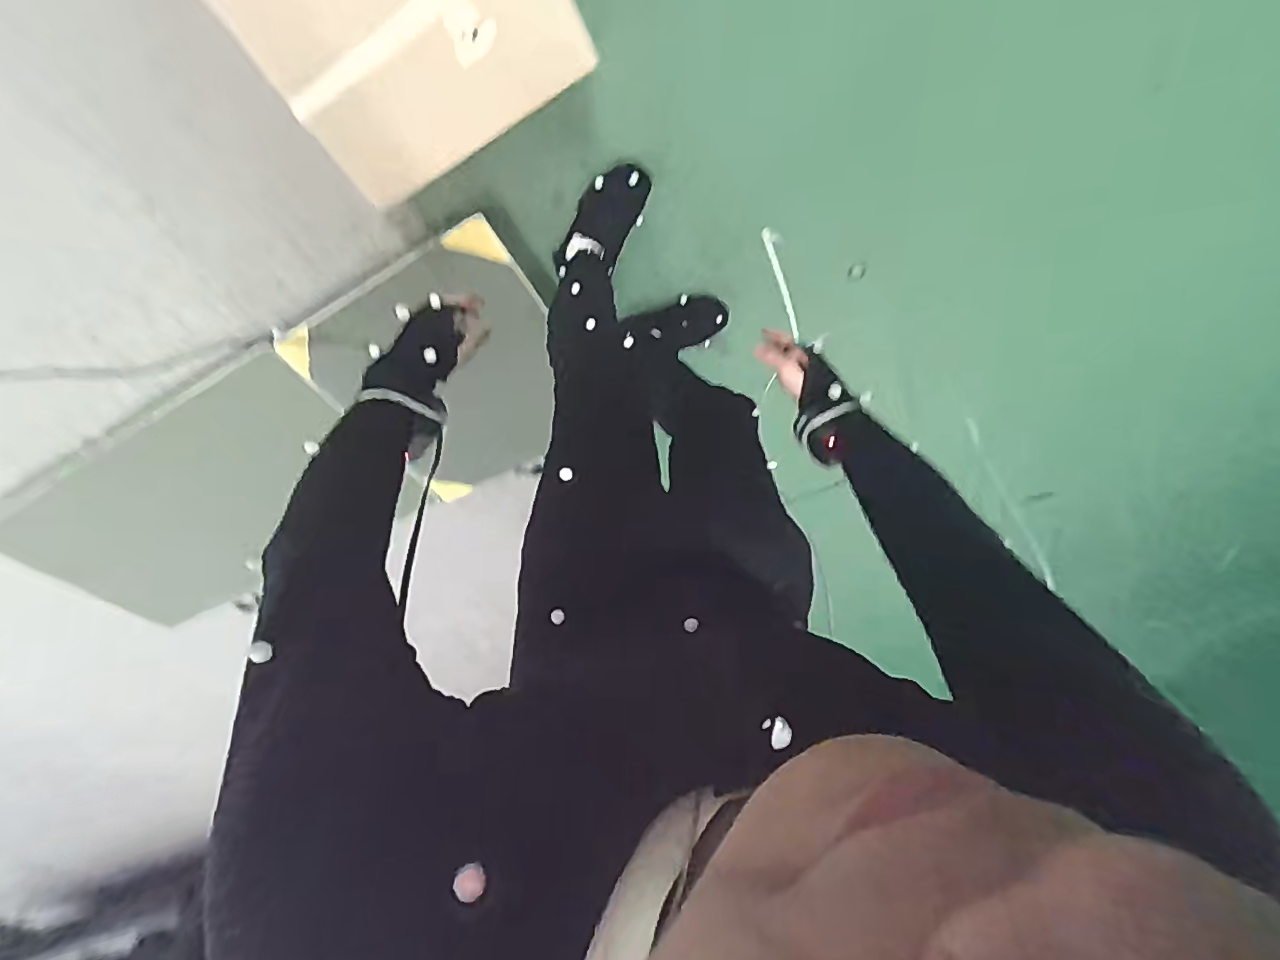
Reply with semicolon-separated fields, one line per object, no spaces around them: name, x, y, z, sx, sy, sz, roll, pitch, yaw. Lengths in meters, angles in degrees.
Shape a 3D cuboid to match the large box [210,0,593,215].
large box;-0.325;-0.696;0.840;0.408;0.320;0.320;-26;130;13
